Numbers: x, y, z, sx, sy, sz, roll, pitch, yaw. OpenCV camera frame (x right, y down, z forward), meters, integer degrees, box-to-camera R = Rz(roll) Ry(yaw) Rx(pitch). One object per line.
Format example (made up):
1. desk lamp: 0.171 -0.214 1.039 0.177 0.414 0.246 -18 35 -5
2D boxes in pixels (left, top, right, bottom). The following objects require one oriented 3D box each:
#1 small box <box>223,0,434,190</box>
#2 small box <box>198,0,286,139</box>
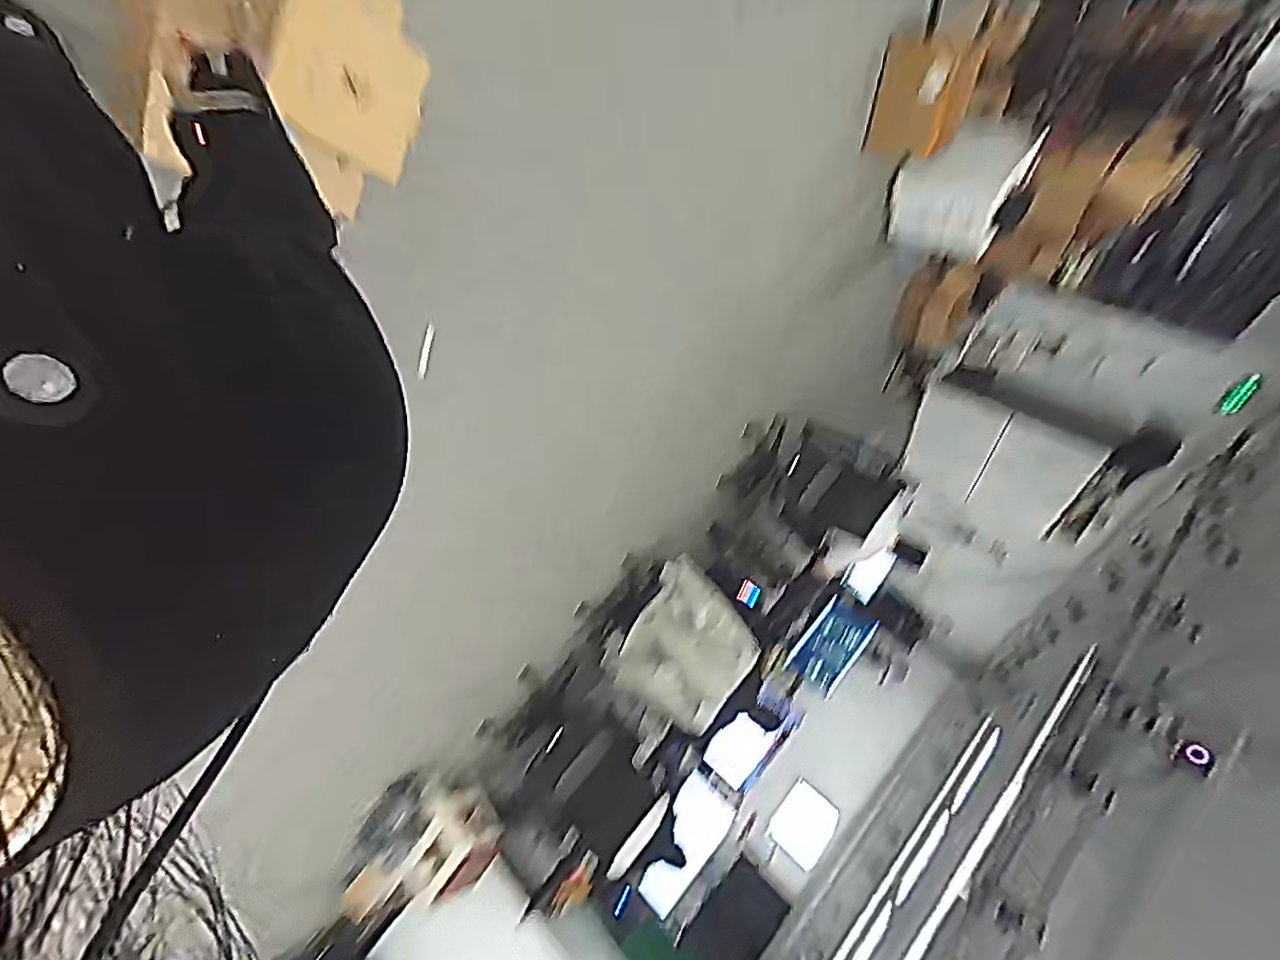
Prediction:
1. small box: -0.424 -0.534 0.736 0.179 0.176 0.168 7 113 -55
2. small box: -0.535 -0.615 0.823 0.179 0.176 0.168 2 118 -55
